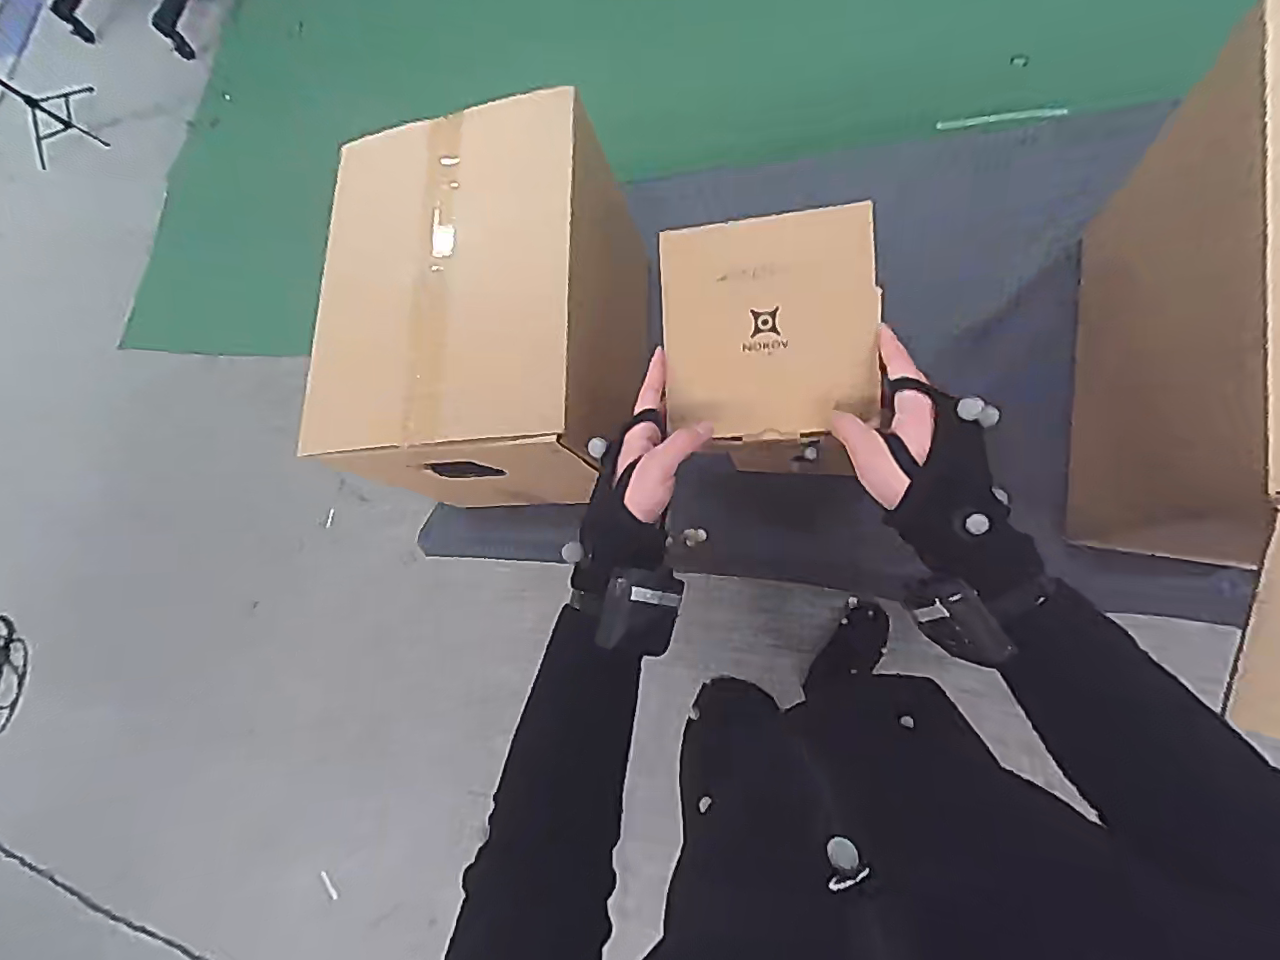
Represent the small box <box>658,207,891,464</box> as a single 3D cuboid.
[{"bbox_3d":[0.114,-0.104,0.477,0.168,0.176,0.179,-3,89,12],"label":"small box"}]
